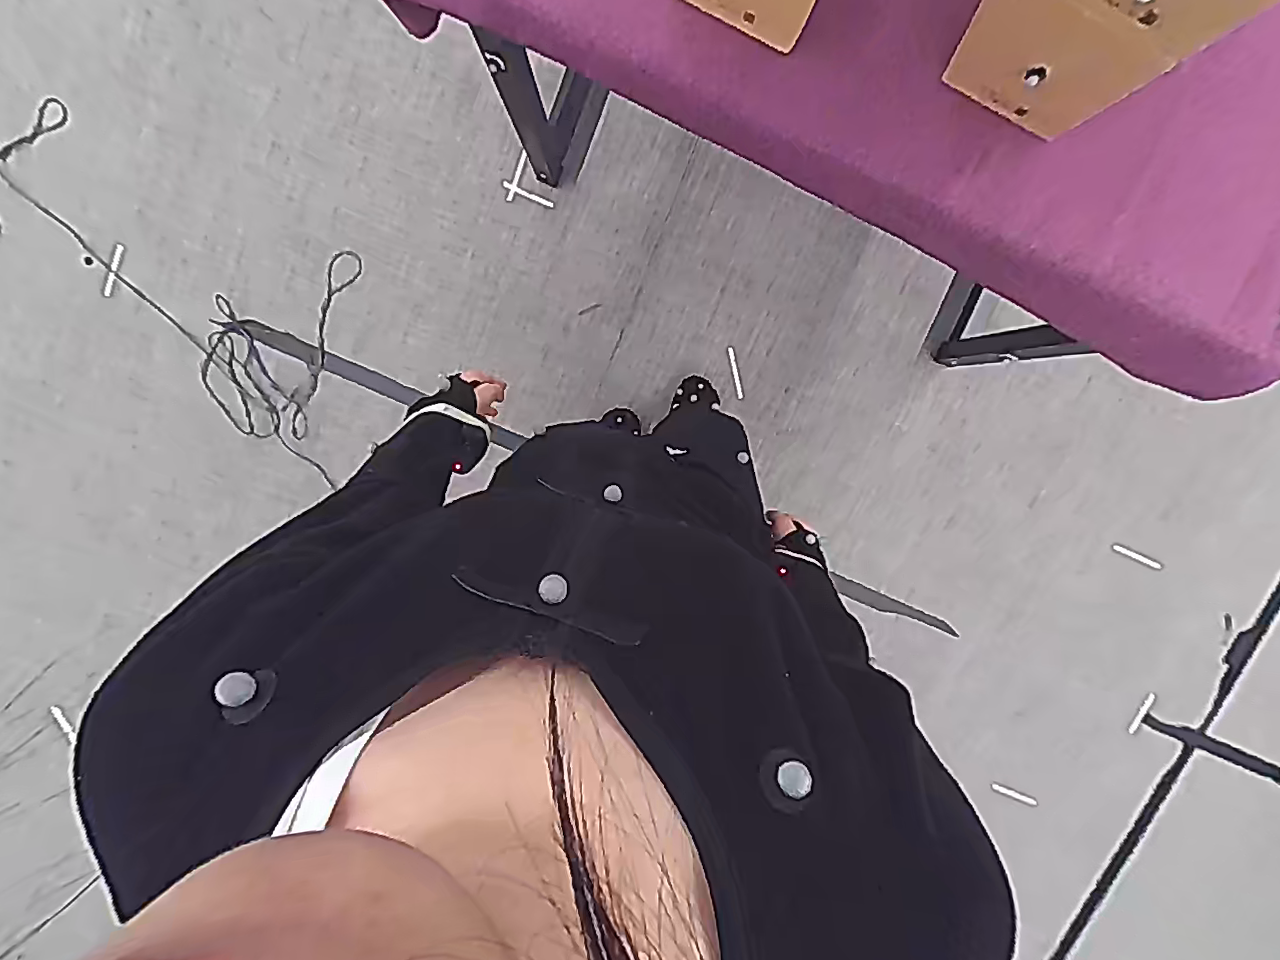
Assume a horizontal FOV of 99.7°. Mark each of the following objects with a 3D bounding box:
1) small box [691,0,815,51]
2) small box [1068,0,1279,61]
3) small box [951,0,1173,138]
[{"bbox_3d":[0.146,-0.623,0.579,0.168,0.176,0.179,24,96,-5],"label":"small box"},{"bbox_3d":[0.495,-0.506,0.436,0.168,0.176,0.179,26,98,-4],"label":"small box"},{"bbox_3d":[0.488,-0.528,0.599,0.168,0.176,0.179,26,97,-5],"label":"small box"}]
